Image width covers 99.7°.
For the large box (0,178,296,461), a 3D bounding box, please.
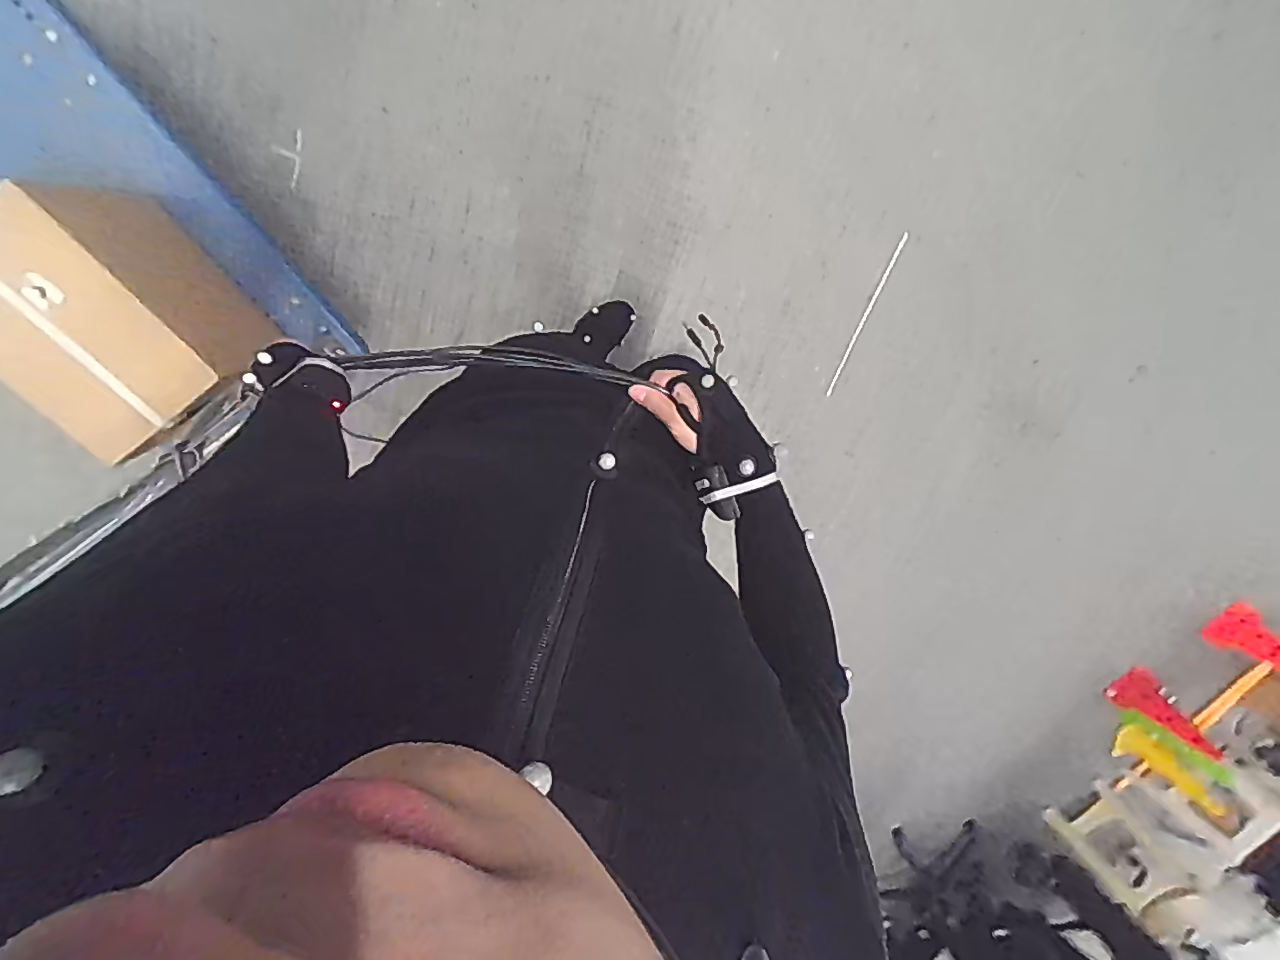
[{"bbox_3d":[-1.029,-0.318,1.097,0.320,0.320,0.408,-33,112,8],"label":"large box"}]
